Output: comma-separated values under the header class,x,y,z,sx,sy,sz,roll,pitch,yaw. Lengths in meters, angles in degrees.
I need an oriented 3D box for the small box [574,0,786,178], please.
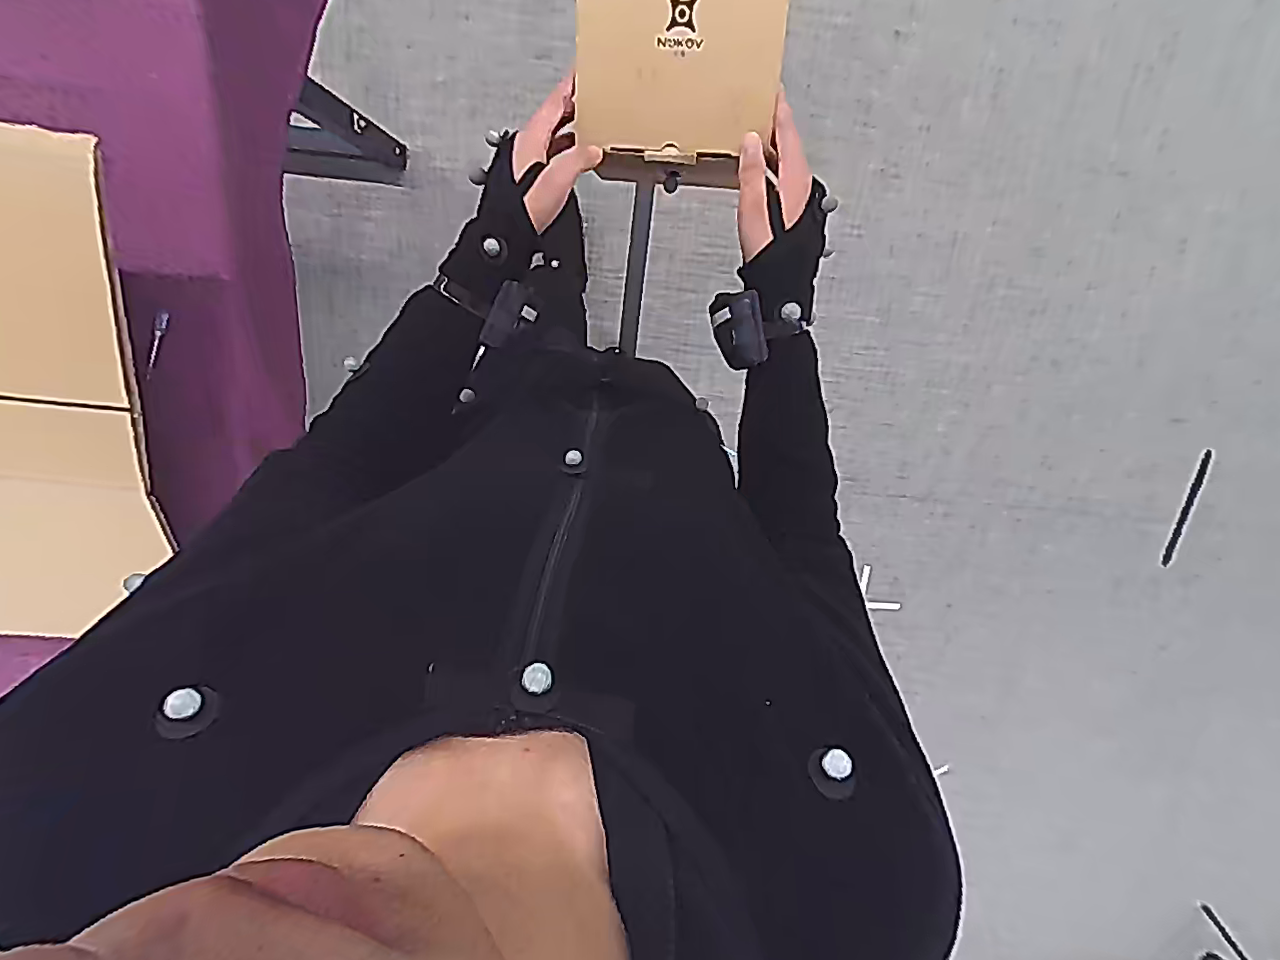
class,x,y,z,sx,sy,sz,roll,pitch,yaw
small box,0.038,-0.389,0.499,0.168,0.176,0.179,5,112,2
